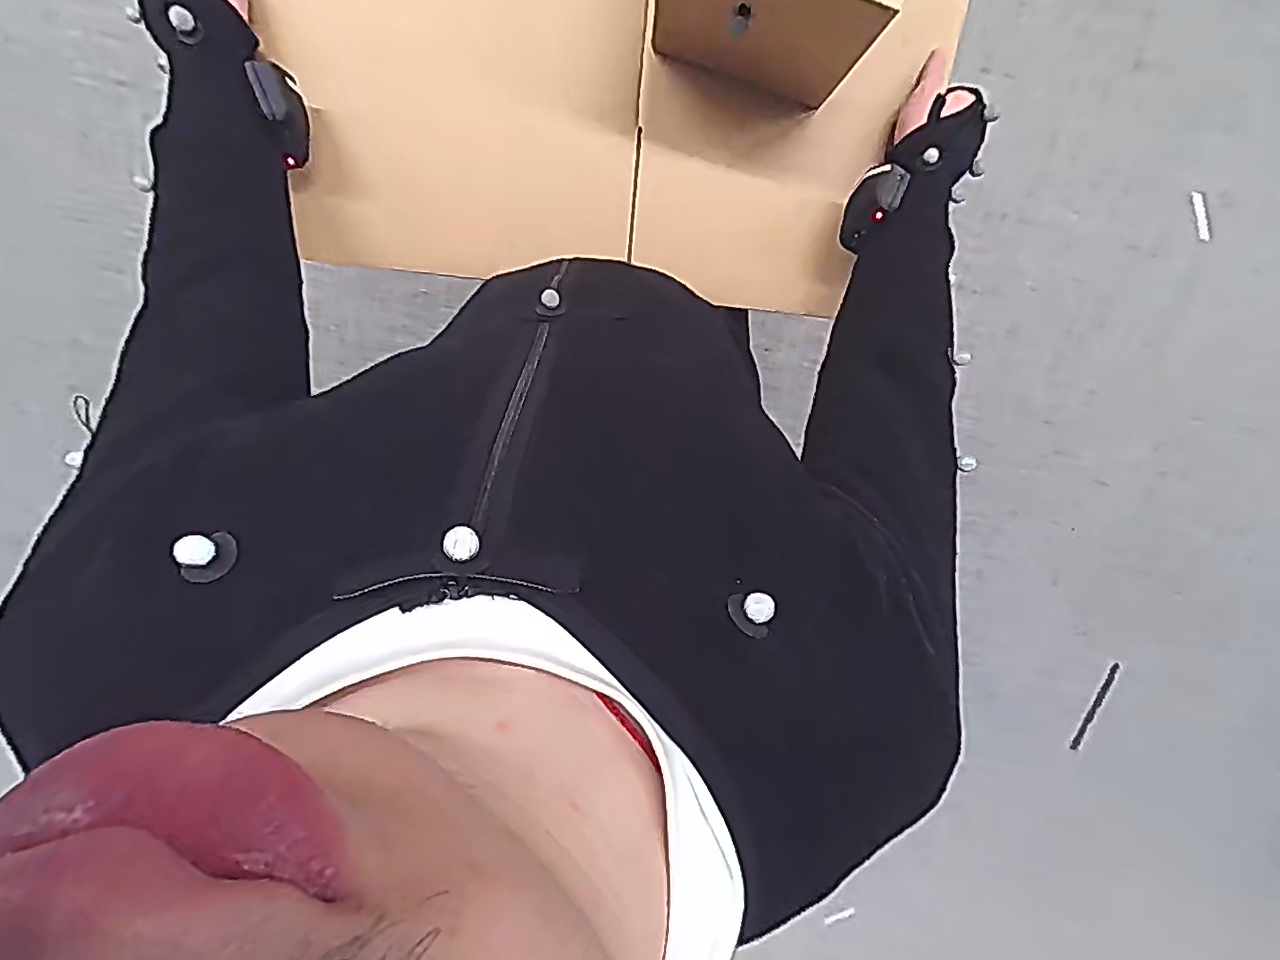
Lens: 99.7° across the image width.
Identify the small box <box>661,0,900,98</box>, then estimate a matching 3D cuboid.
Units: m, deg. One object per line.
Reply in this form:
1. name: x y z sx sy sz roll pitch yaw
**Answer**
1. small box: 0.121 -0.446 0.431 0.179 0.176 0.168 16 105 -4
